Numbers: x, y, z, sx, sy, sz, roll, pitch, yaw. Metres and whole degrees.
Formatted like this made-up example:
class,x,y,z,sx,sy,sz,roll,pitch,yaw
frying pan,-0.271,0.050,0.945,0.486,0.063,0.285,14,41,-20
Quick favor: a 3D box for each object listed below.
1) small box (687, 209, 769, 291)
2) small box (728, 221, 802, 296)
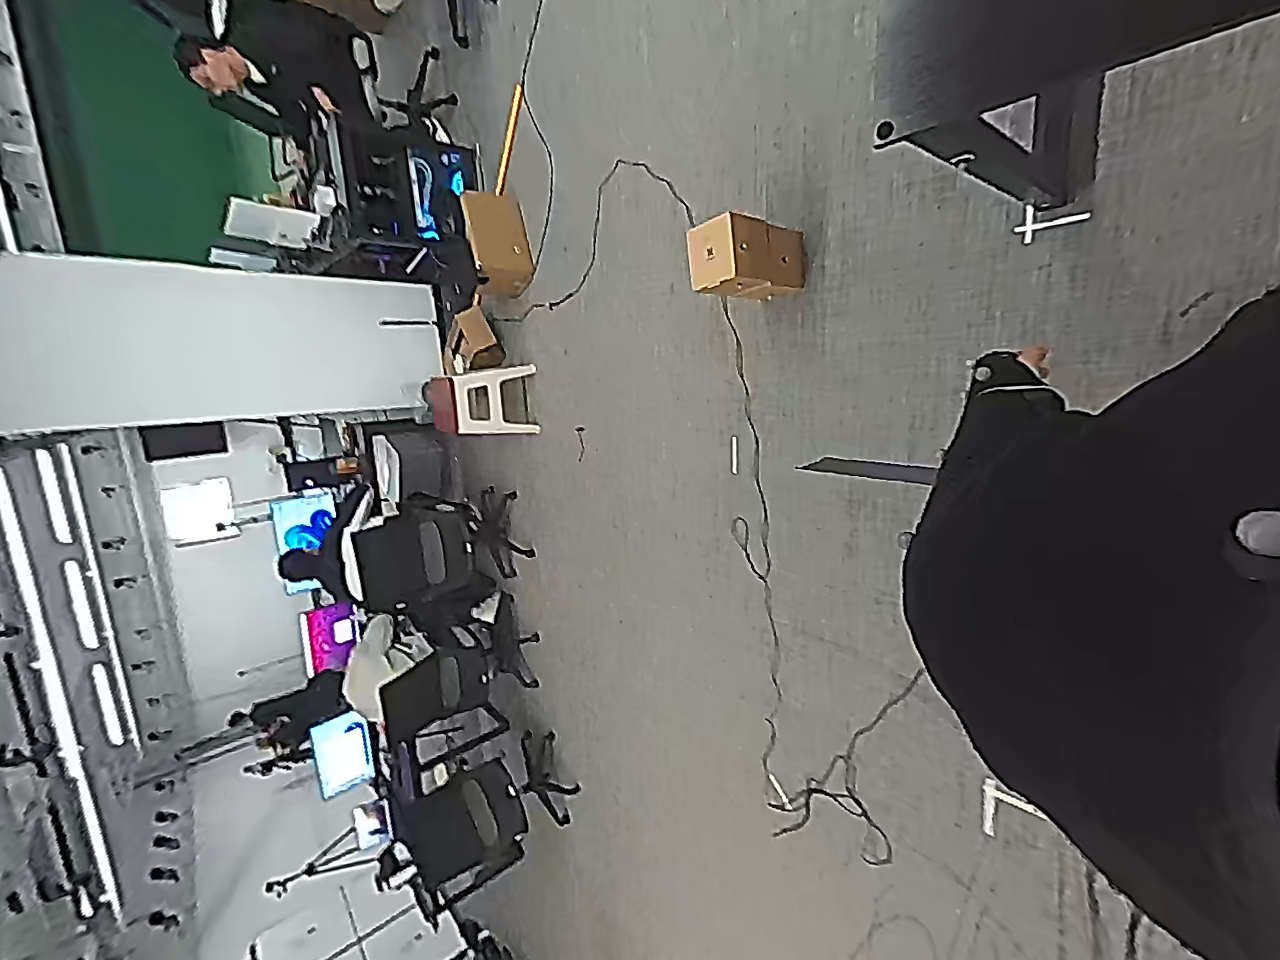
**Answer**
class,x,y,z,sx,sy,sz,roll,pitch,yaw
small box,0.258,-0.655,1.565,0.168,0.176,0.179,0,98,50
small box,0.383,-0.675,1.668,0.168,0.176,0.179,5,104,50
